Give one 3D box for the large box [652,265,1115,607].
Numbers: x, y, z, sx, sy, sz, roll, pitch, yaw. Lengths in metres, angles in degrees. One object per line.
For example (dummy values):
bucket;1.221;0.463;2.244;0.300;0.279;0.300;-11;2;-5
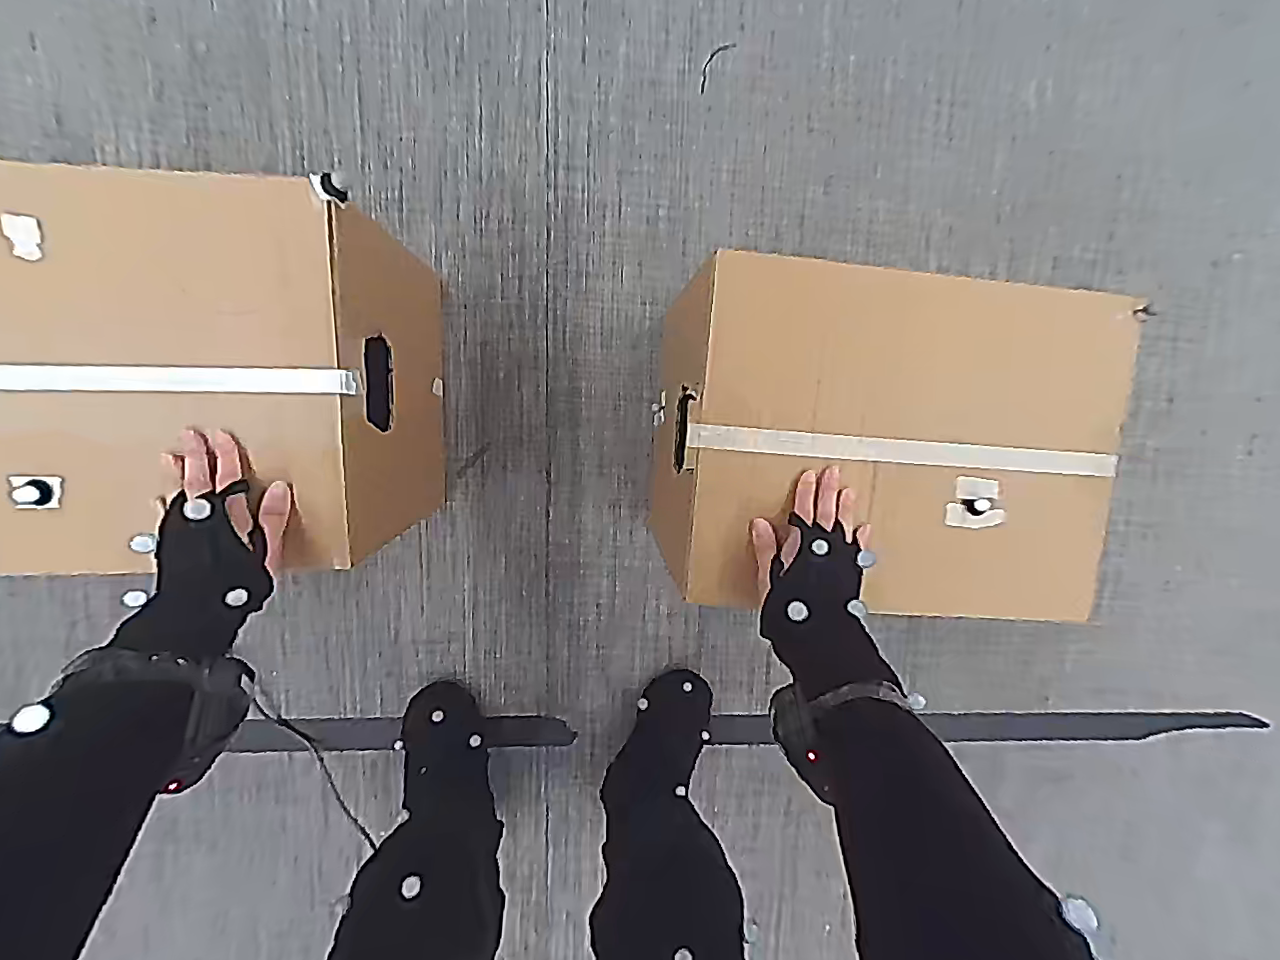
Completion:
large box;0.237;-0.047;0.662;0.408;0.320;0.320;4;98;-7
